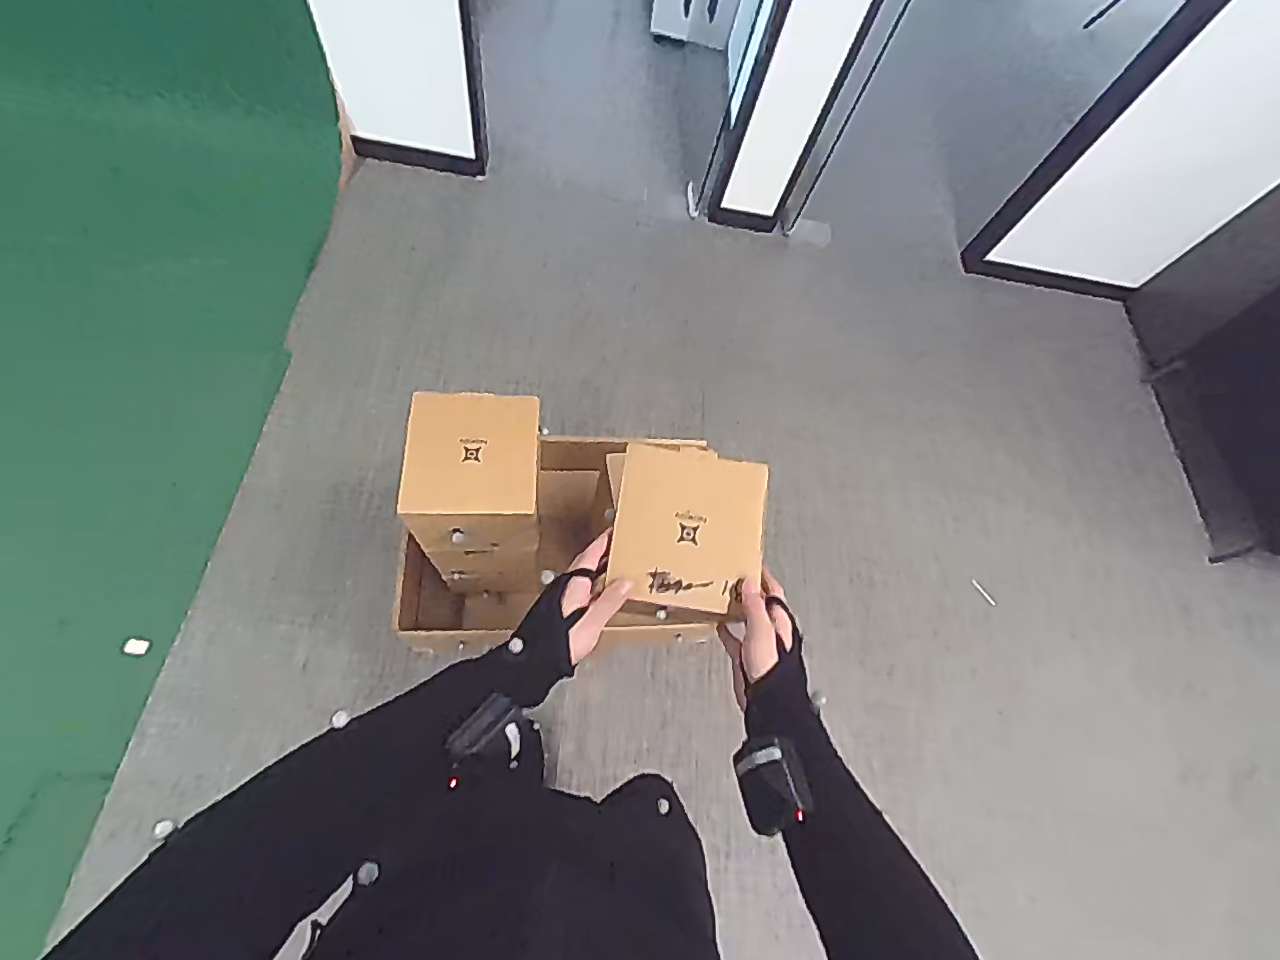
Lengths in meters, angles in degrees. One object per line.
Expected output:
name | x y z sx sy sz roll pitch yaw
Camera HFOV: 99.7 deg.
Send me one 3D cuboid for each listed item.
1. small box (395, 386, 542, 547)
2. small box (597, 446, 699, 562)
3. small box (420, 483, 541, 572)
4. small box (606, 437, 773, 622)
small box | -0.225 -0.009 0.755 0.168 0.176 0.179 1 65 -9
small box | 0.022 0.057 0.951 0.168 0.176 0.179 -5 68 -14
small box | -0.254 0.051 0.902 0.168 0.176 0.179 3 65 -9
small box | 0.051 0.069 0.657 0.168 0.176 0.179 9 73 -2
